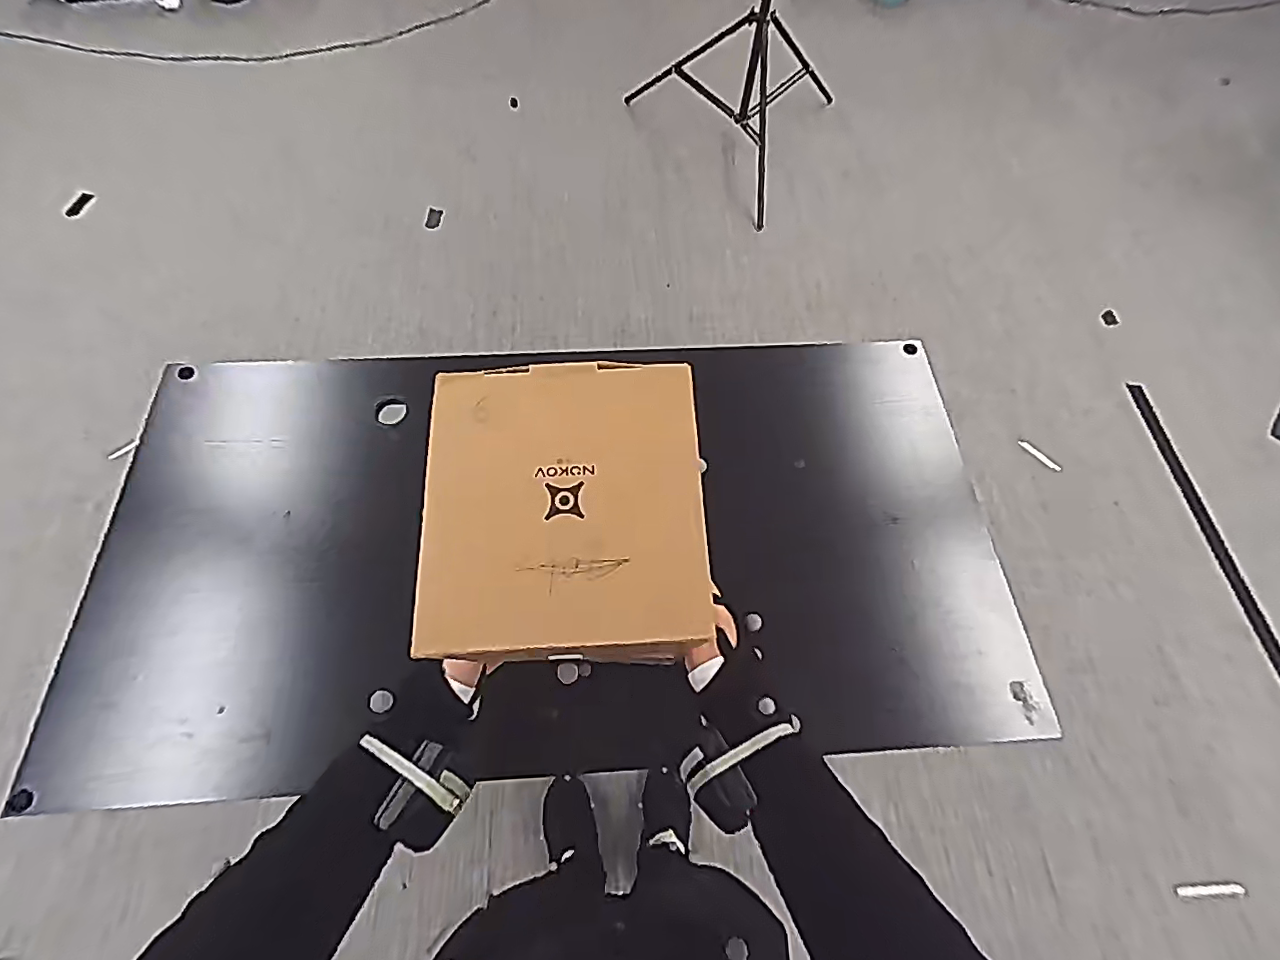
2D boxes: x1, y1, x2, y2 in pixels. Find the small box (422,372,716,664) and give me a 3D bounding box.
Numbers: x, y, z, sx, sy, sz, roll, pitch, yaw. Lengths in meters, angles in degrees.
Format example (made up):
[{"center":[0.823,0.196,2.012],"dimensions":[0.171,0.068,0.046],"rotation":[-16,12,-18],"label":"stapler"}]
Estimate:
[{"center":[-0.044,0.040,0.402],"dimensions":[0.168,0.176,0.179],"rotation":[-3,71,-2],"label":"small box"}]
